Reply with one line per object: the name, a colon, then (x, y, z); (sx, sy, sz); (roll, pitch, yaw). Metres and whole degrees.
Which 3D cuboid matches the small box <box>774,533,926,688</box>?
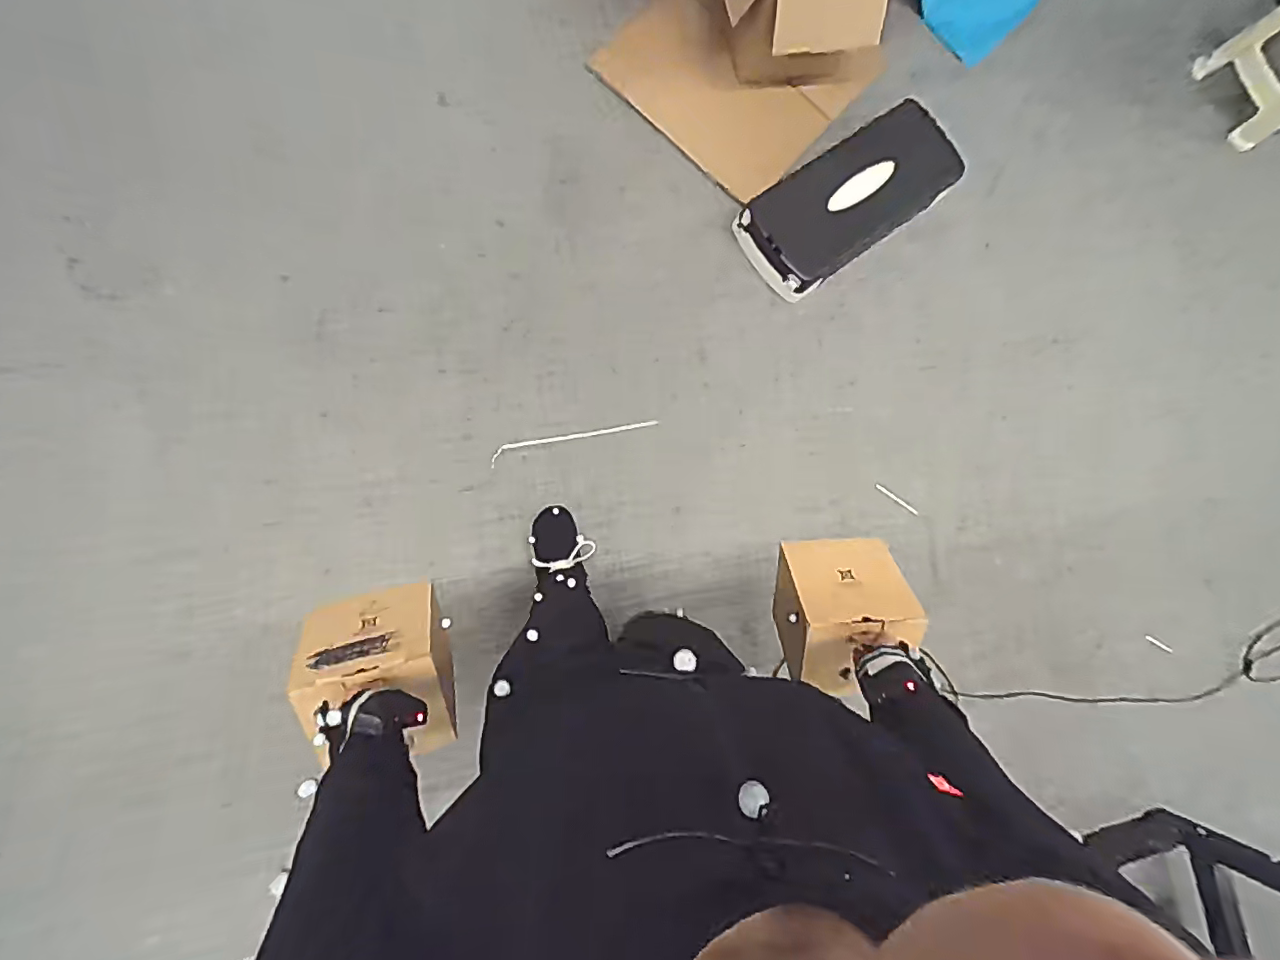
small box: (0.316, 0.204, 0.858); (0.168, 0.179, 0.176); (-3, 125, 1)
